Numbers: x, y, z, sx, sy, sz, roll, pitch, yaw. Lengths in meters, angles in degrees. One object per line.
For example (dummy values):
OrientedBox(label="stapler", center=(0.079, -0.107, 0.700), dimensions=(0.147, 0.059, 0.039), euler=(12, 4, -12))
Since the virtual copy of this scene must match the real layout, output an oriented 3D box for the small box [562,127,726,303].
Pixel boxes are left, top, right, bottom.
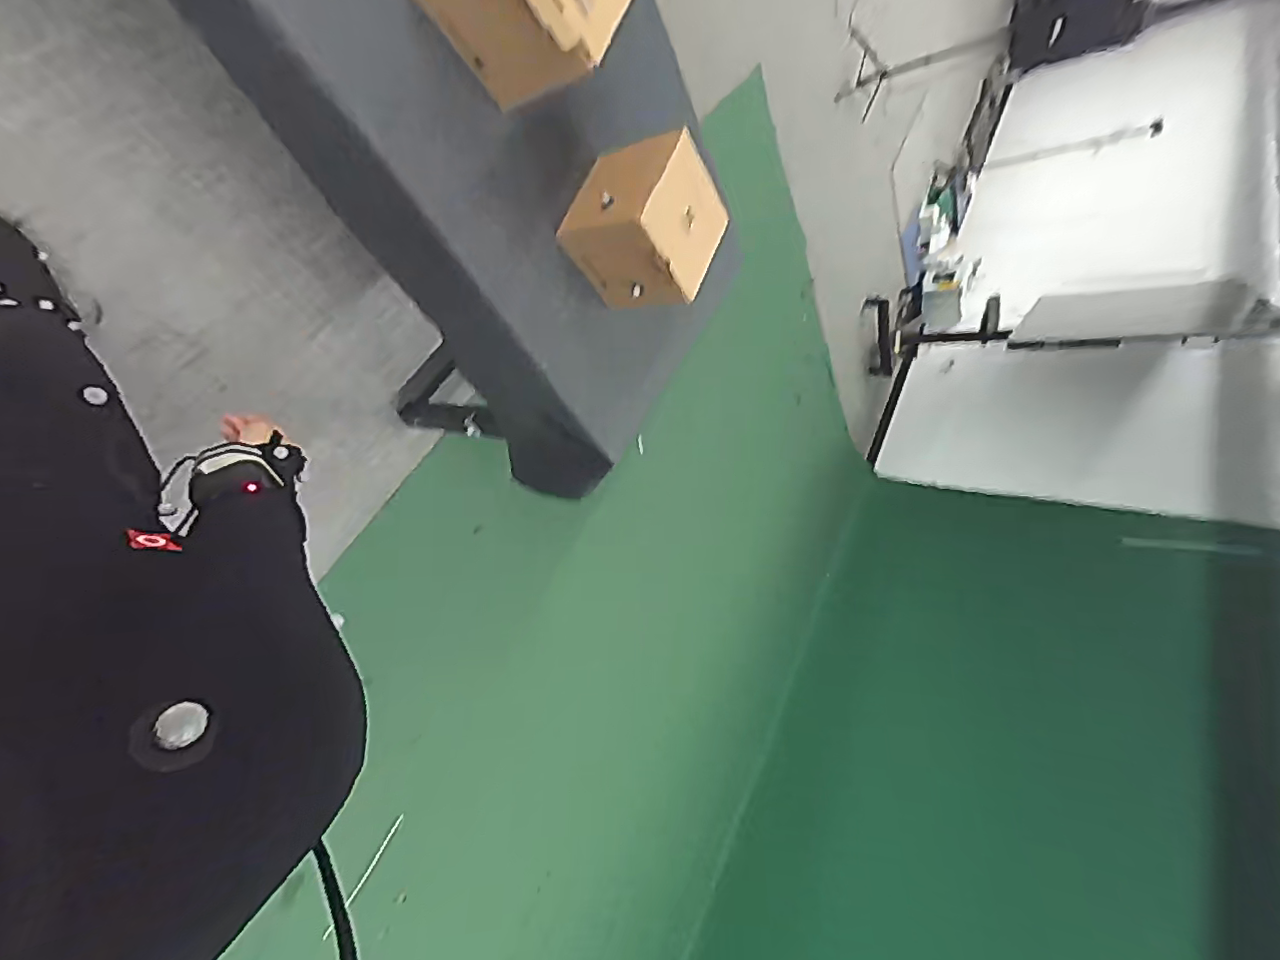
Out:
OrientedBox(label="small box", center=(0.005, -0.396, 0.843), dimensions=(0.168, 0.176, 0.179), euler=(42, 64, -49))
